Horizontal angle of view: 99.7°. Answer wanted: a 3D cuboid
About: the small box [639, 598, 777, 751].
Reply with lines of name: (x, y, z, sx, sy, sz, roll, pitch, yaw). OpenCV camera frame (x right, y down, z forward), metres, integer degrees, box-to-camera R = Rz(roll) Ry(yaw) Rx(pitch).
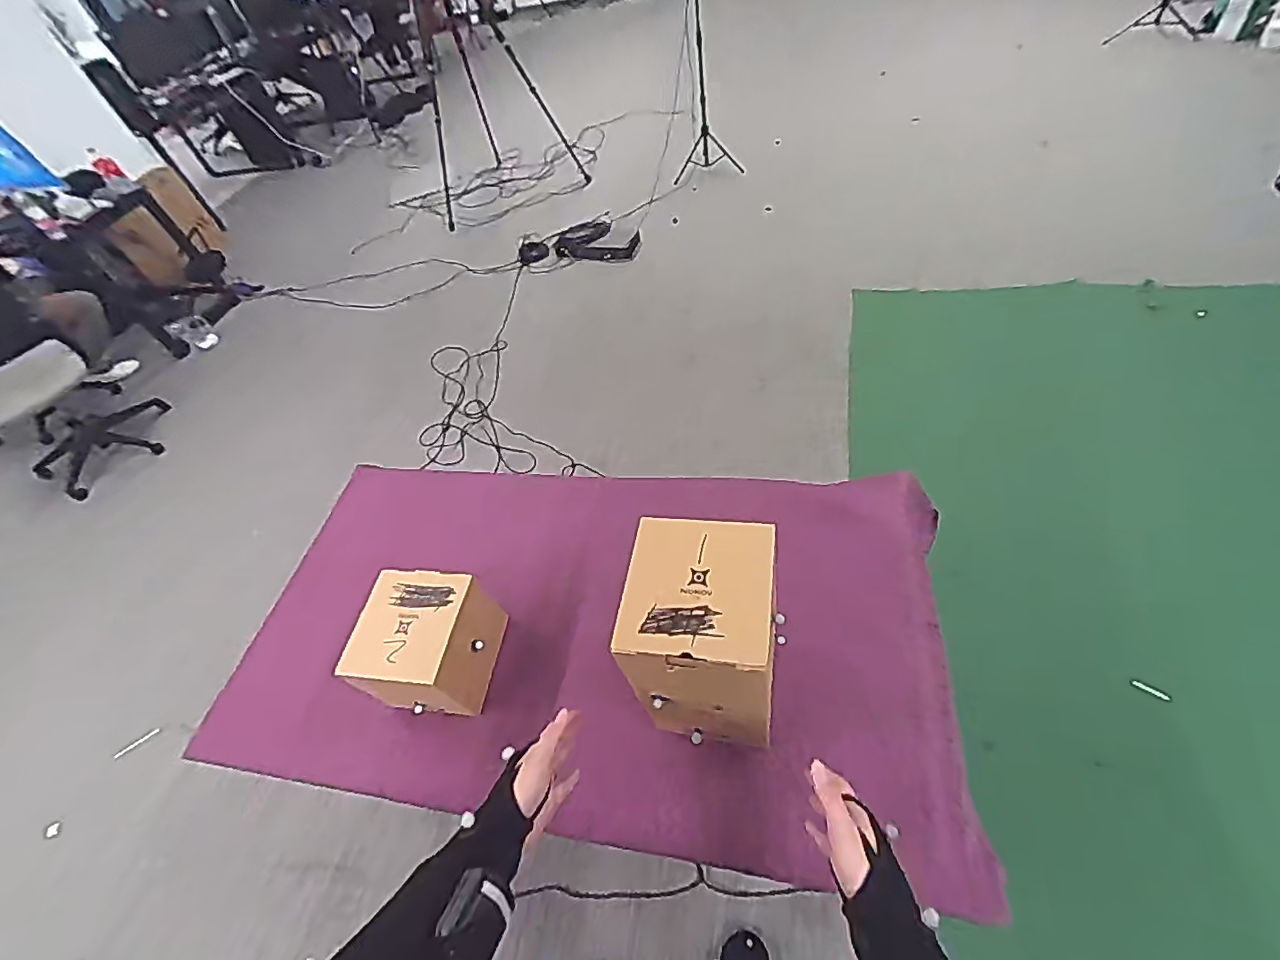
small box: (0.107, 0.267, 0.782, 0.168, 0.176, 0.179, 3, 52, 16)

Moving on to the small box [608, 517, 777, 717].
small box: (0.076, 0.167, 0.656, 0.168, 0.176, 0.179, 2, 50, 16)
